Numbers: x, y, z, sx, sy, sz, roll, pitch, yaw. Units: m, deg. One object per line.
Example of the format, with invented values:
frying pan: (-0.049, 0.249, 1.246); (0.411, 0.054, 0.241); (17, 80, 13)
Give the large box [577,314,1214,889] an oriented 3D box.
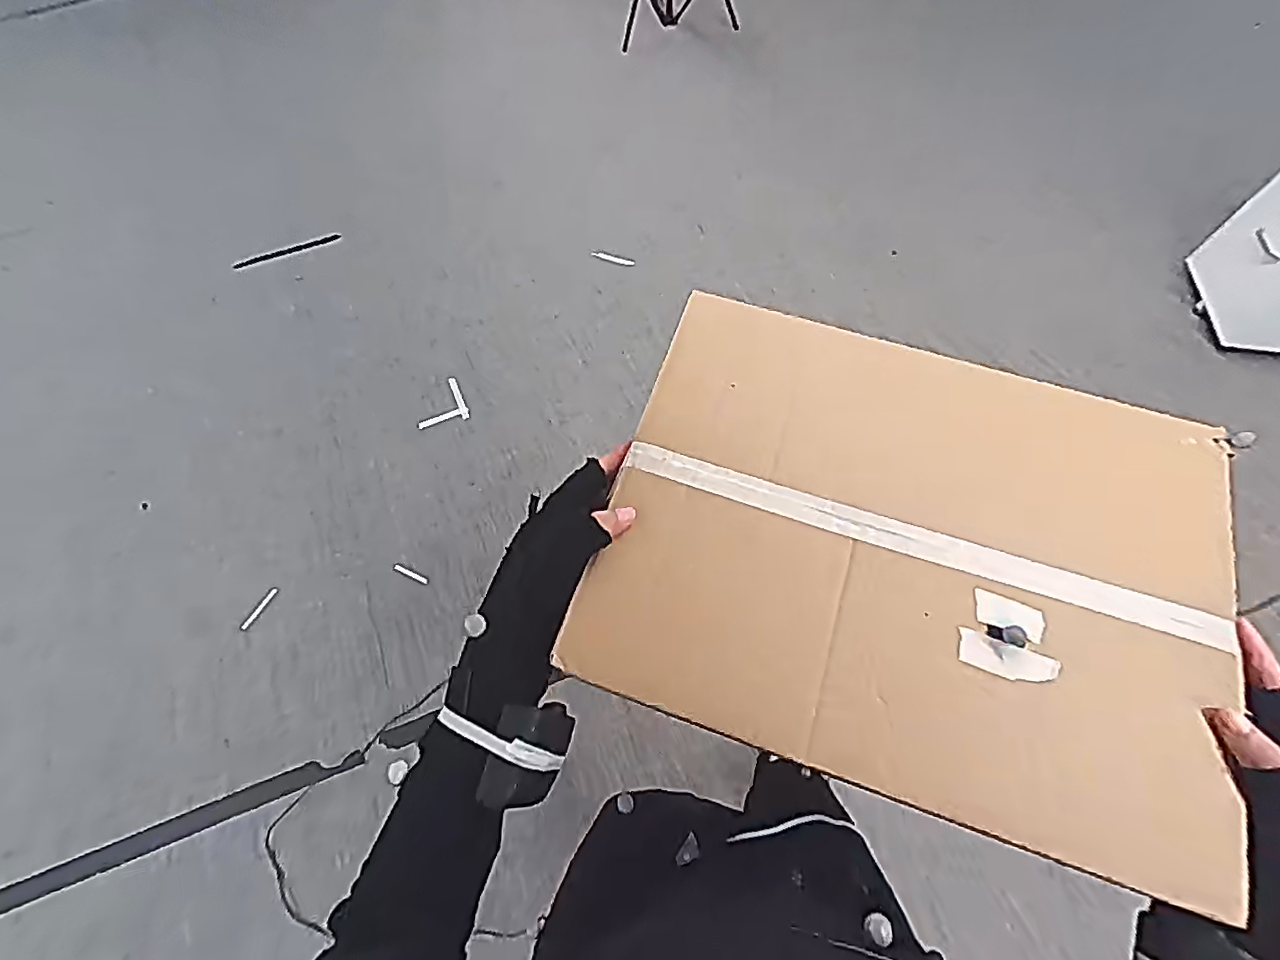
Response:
large box: (0.191, 0.100, 0.525); (0.408, 0.320, 0.320); (18, 71, 8)
